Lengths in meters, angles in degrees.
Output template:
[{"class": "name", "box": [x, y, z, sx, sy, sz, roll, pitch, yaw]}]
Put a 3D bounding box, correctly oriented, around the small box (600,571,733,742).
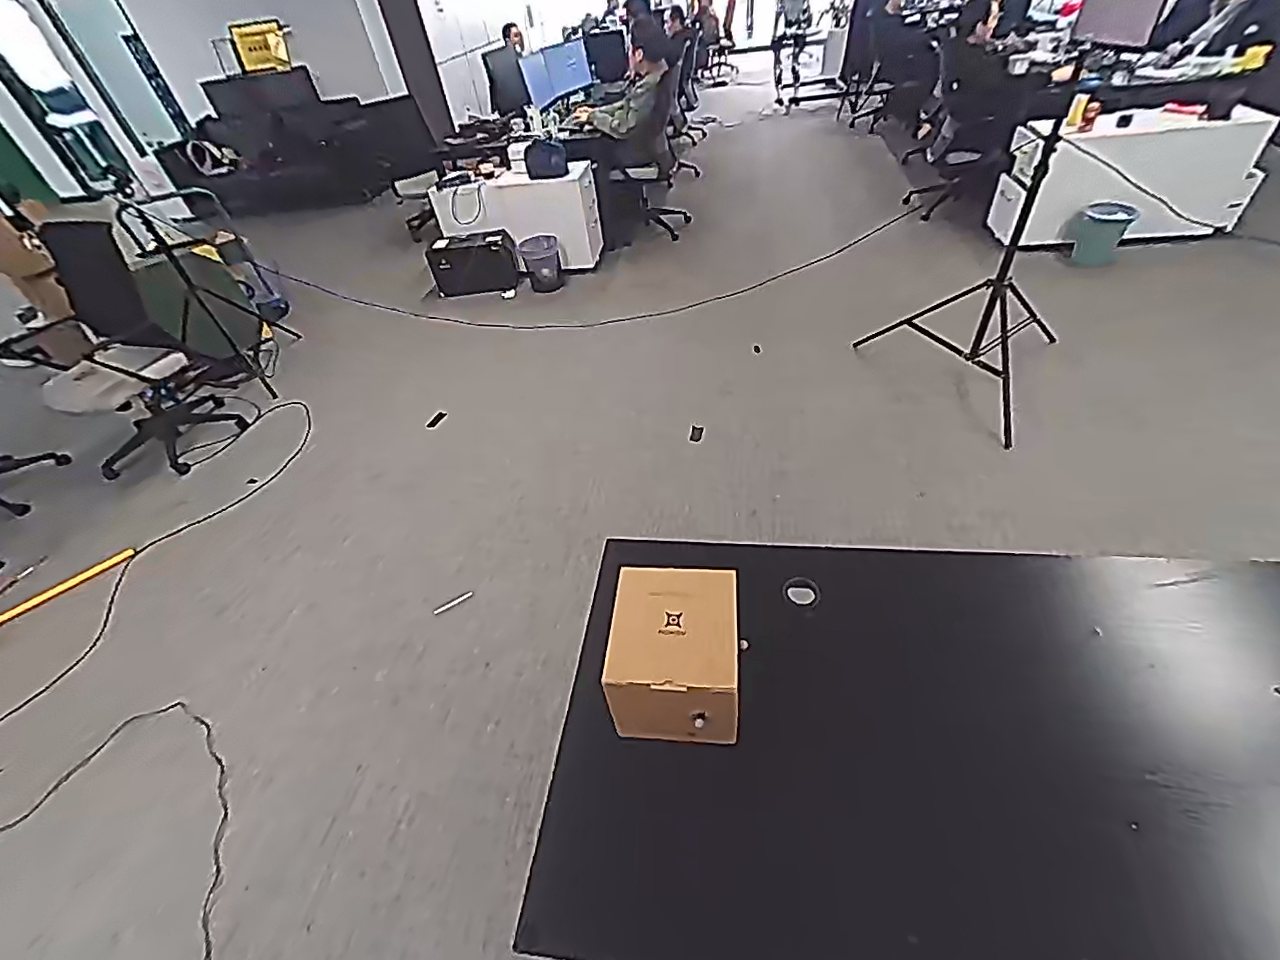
[{"class": "small box", "box": [0.047, 0.251, 0.766, 0.168, 0.176, 0.179, 1, 43, 8]}]
